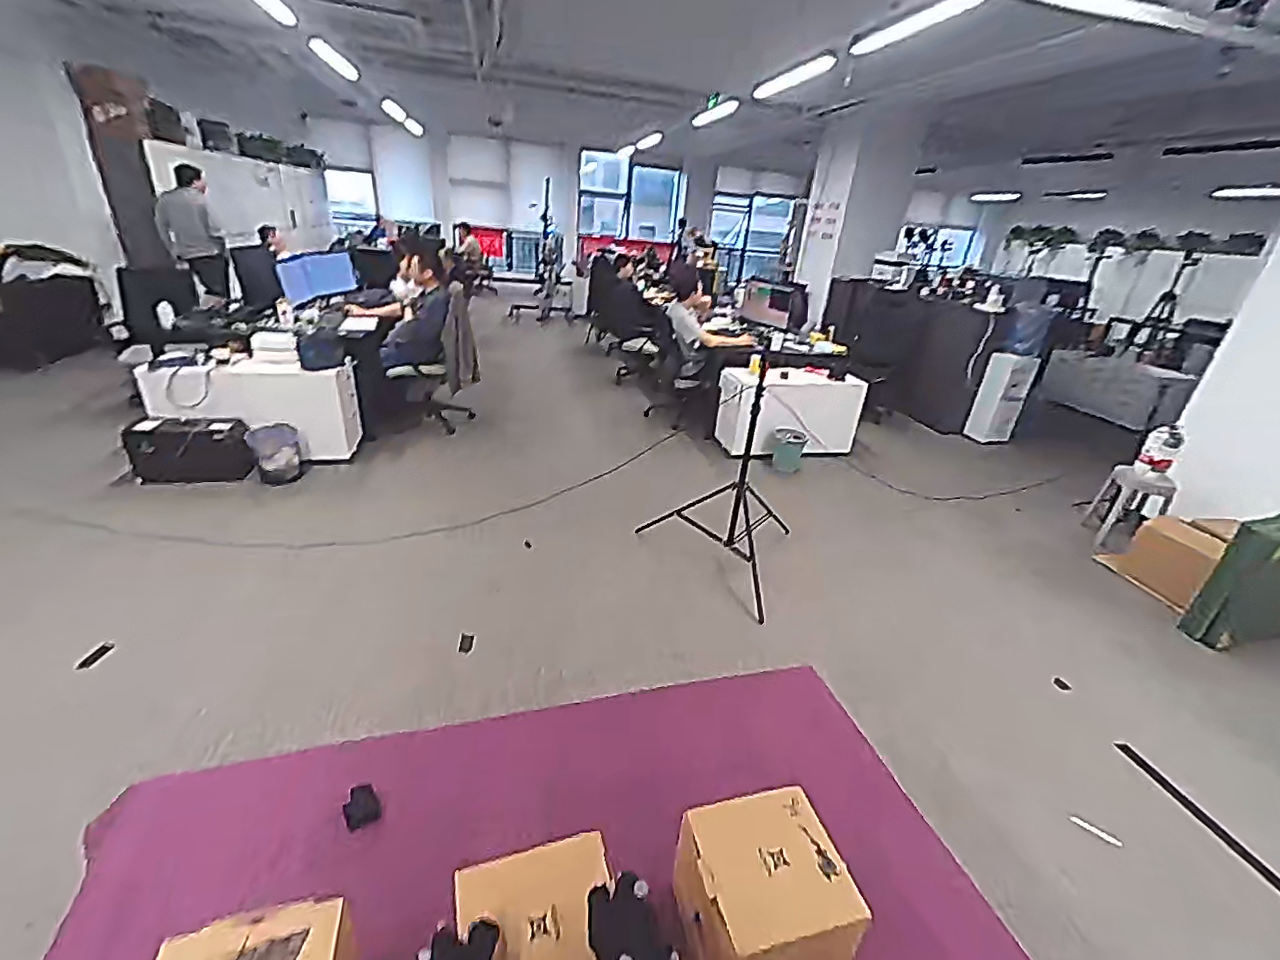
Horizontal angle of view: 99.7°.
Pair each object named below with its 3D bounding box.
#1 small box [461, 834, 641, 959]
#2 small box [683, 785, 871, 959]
[{"bbox_3d":[-0.105,0.560,0.619,0.179,0.176,0.168,-6,26,-20],"label":"small box"},{"bbox_3d":[0.161,0.541,0.701,0.179,0.176,0.168,-4,27,-16],"label":"small box"}]
